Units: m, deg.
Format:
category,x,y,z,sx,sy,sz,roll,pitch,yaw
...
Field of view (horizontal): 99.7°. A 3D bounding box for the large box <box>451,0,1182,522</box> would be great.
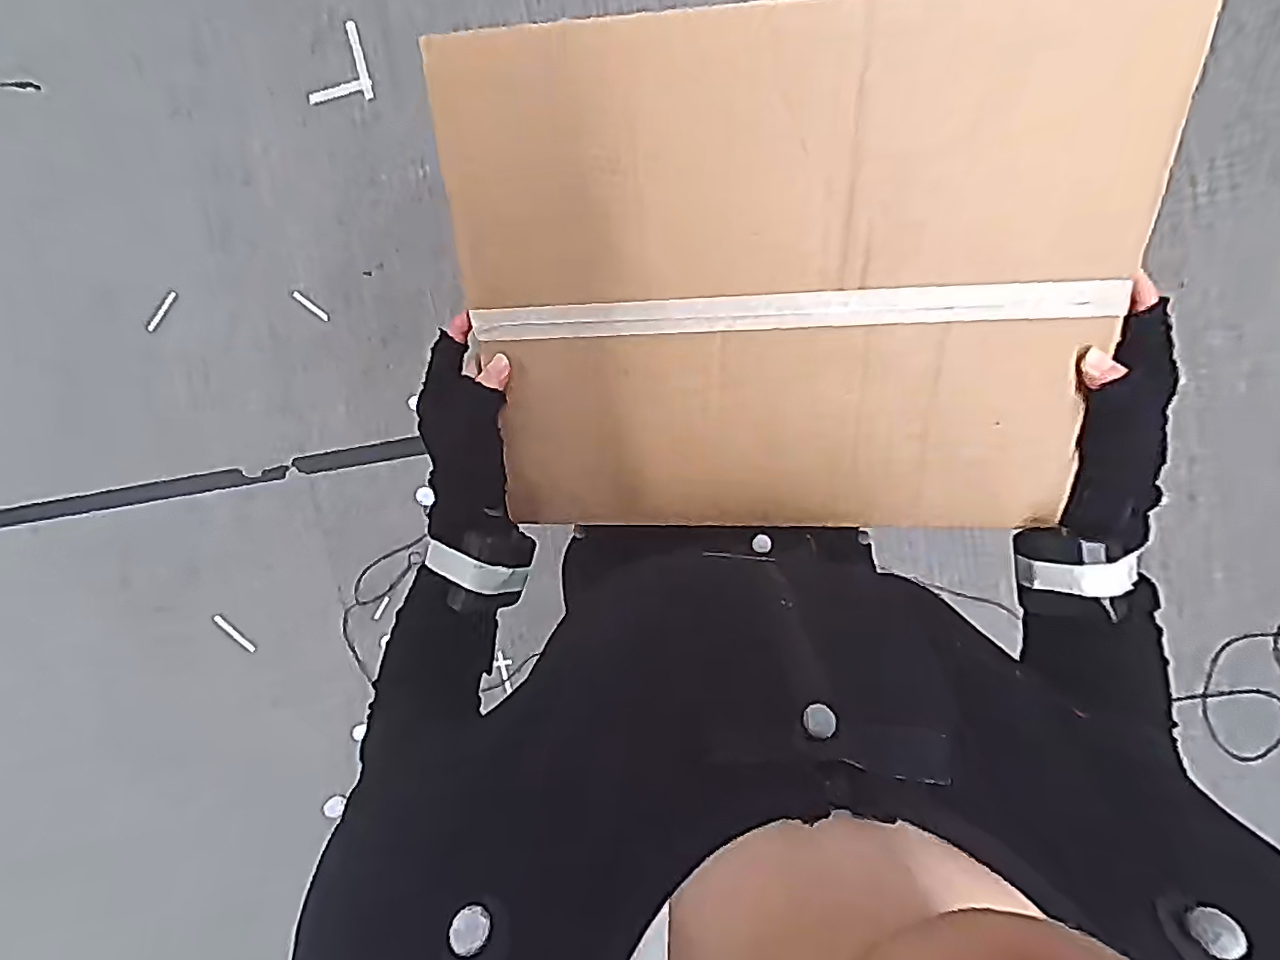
category,x,y,z,sx,sy,sz,roll,pitch,yaw
large box,0.104,-0.170,0.495,0.408,0.320,0.320,0,116,6
